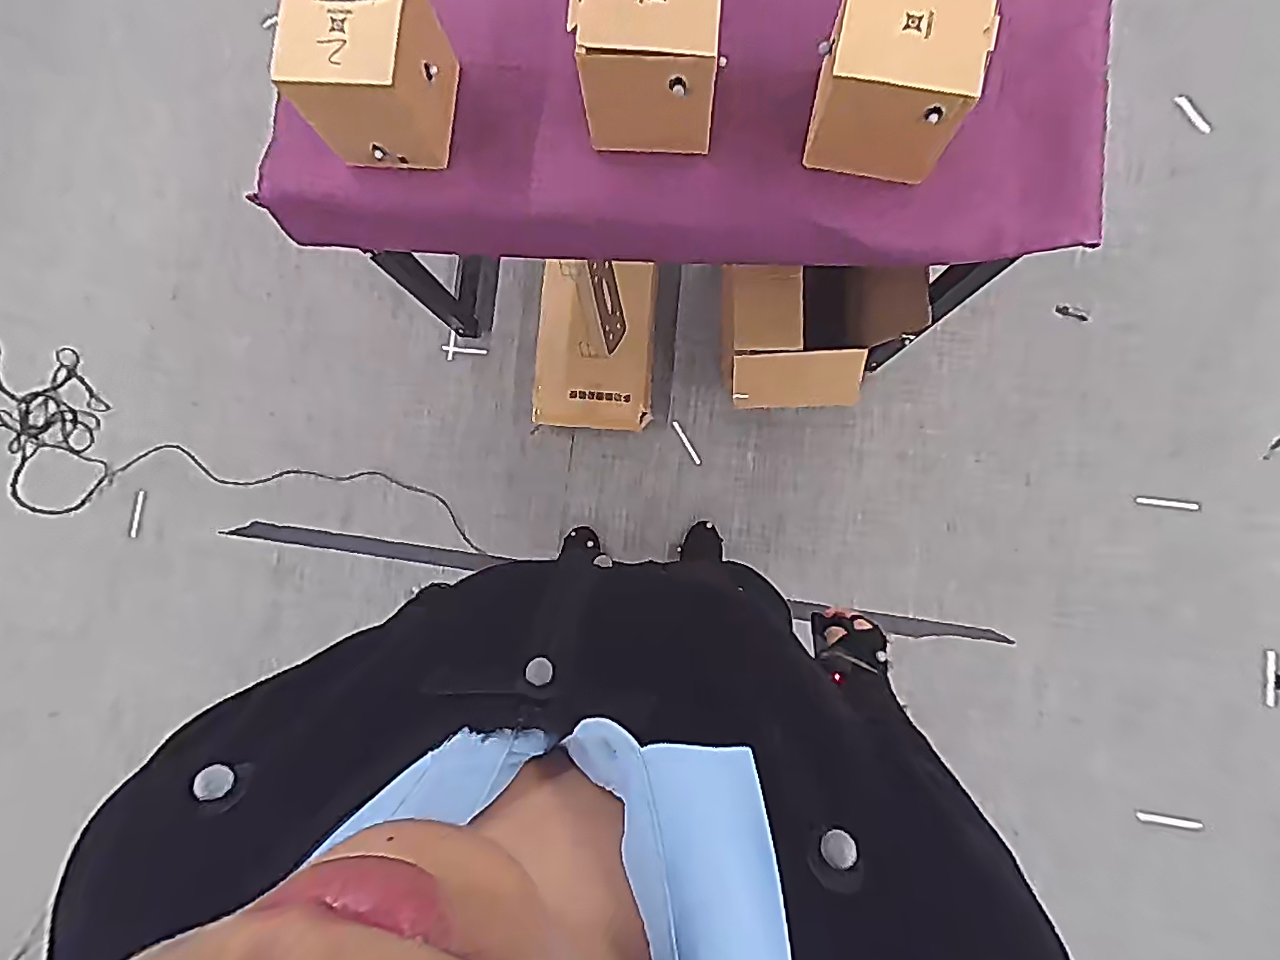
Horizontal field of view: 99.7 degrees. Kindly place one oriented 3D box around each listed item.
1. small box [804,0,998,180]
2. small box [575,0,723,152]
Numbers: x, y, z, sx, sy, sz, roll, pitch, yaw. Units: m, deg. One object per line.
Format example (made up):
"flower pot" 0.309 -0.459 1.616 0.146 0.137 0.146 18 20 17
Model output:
"small box" 0.332 -0.532 0.716 0.179 0.176 0.168 12 86 4
"small box" 0.018 -0.581 0.738 0.179 0.176 0.168 4 83 4
